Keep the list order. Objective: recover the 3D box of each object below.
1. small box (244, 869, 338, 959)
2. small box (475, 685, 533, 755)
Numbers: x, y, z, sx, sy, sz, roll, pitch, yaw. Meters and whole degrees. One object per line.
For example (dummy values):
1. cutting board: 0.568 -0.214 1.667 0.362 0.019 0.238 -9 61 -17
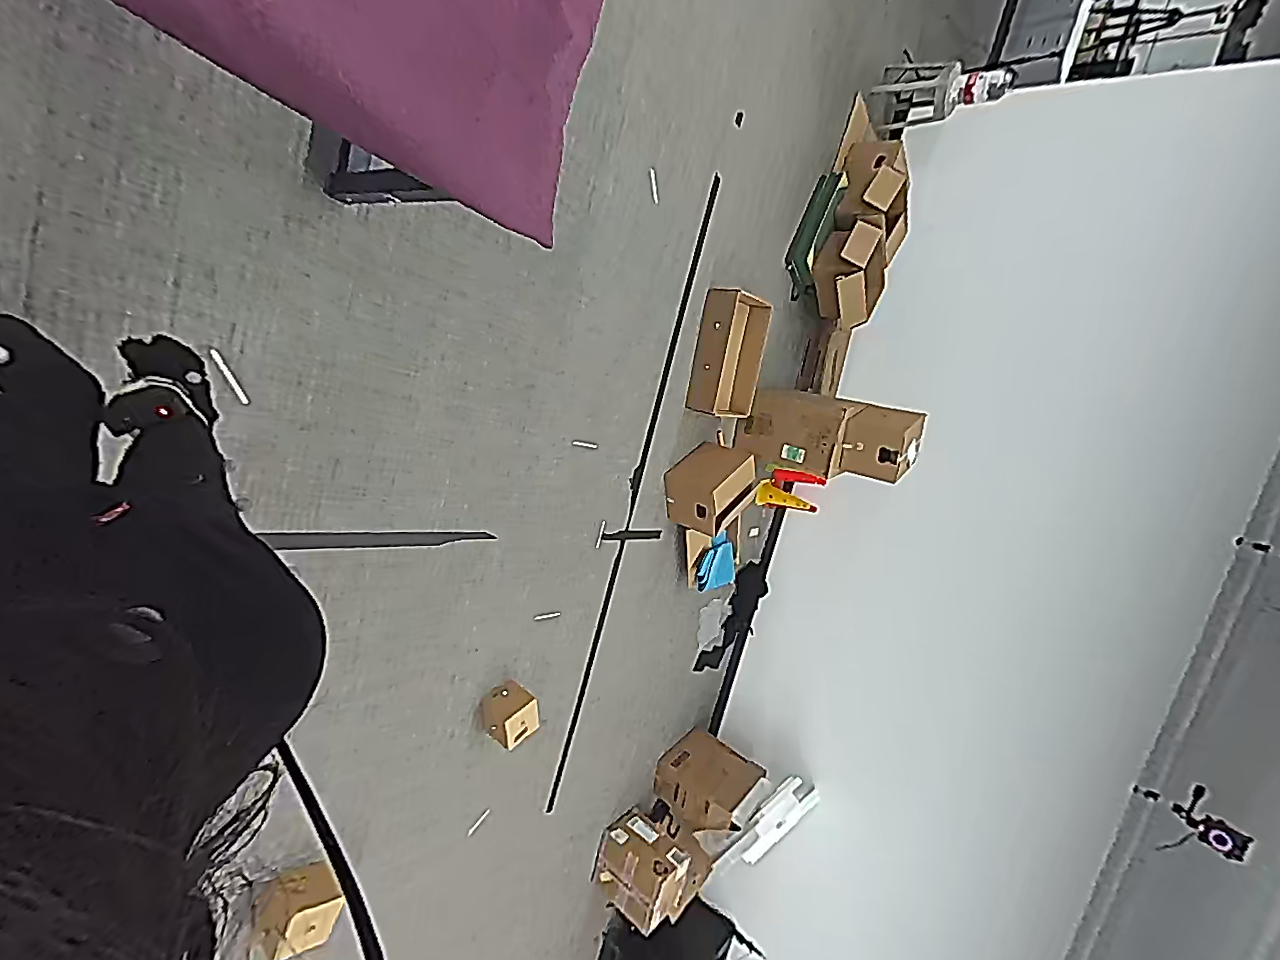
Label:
1. small box: -1.123 1.405 1.734 0.179 0.176 0.168 28 84 -56
2. small box: -0.574 1.009 2.285 0.168 0.176 0.179 -26 126 -46
